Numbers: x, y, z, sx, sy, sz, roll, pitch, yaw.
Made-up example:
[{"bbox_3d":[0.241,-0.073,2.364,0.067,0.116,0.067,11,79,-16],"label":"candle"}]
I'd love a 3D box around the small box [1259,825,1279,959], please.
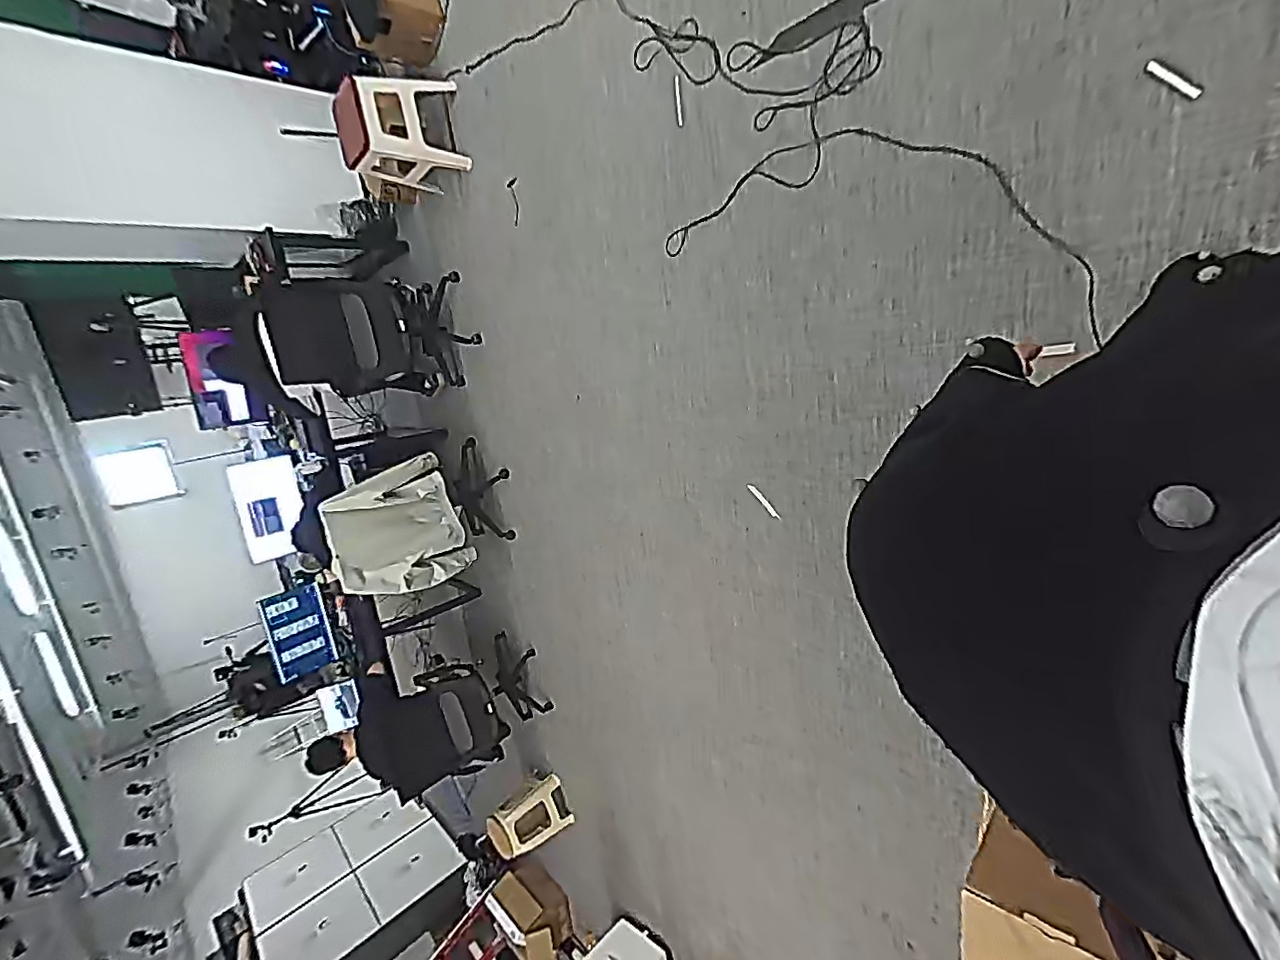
[{"bbox_3d":[0.789,0.521,0.570,0.168,0.176,0.179,8,108,46],"label":"small box"}]

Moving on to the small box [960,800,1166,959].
[{"bbox_3d":[0.498,0.531,0.640,0.168,0.176,0.179,7,107,47],"label":"small box"}]
